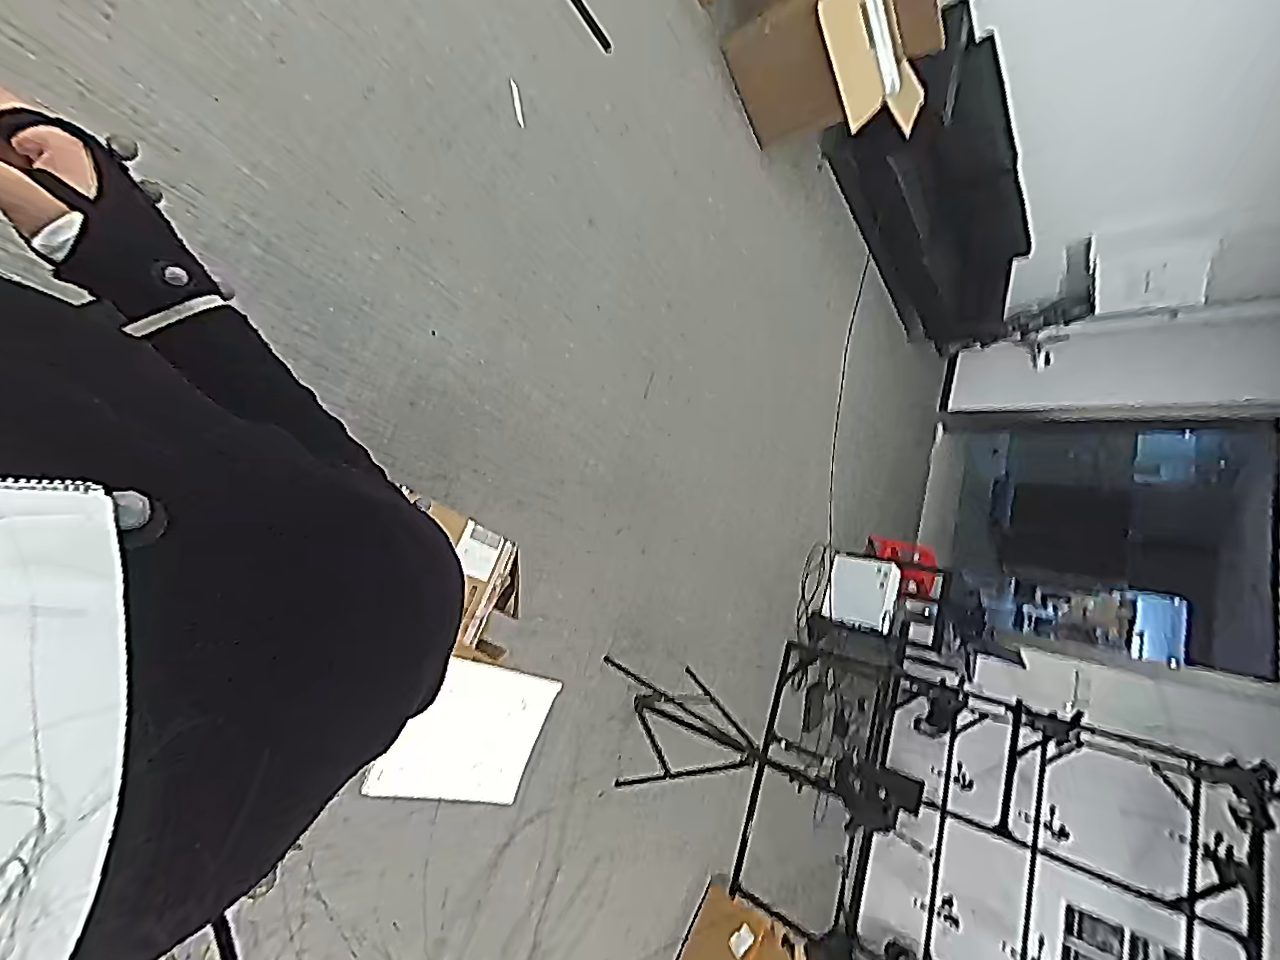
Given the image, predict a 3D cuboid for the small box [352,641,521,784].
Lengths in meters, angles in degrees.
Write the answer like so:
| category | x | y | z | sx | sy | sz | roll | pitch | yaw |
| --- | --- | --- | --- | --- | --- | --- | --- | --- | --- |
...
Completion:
| category | x | y | z | sx | sy | sz | roll | pitch | yaw |
| --- | --- | --- | --- | --- | --- | --- | --- | --- | --- |
| small box | -0.340 | 0.386 | 0.908 | 0.179 | 0.176 | 0.168 | 34 | 71 | -44 |
